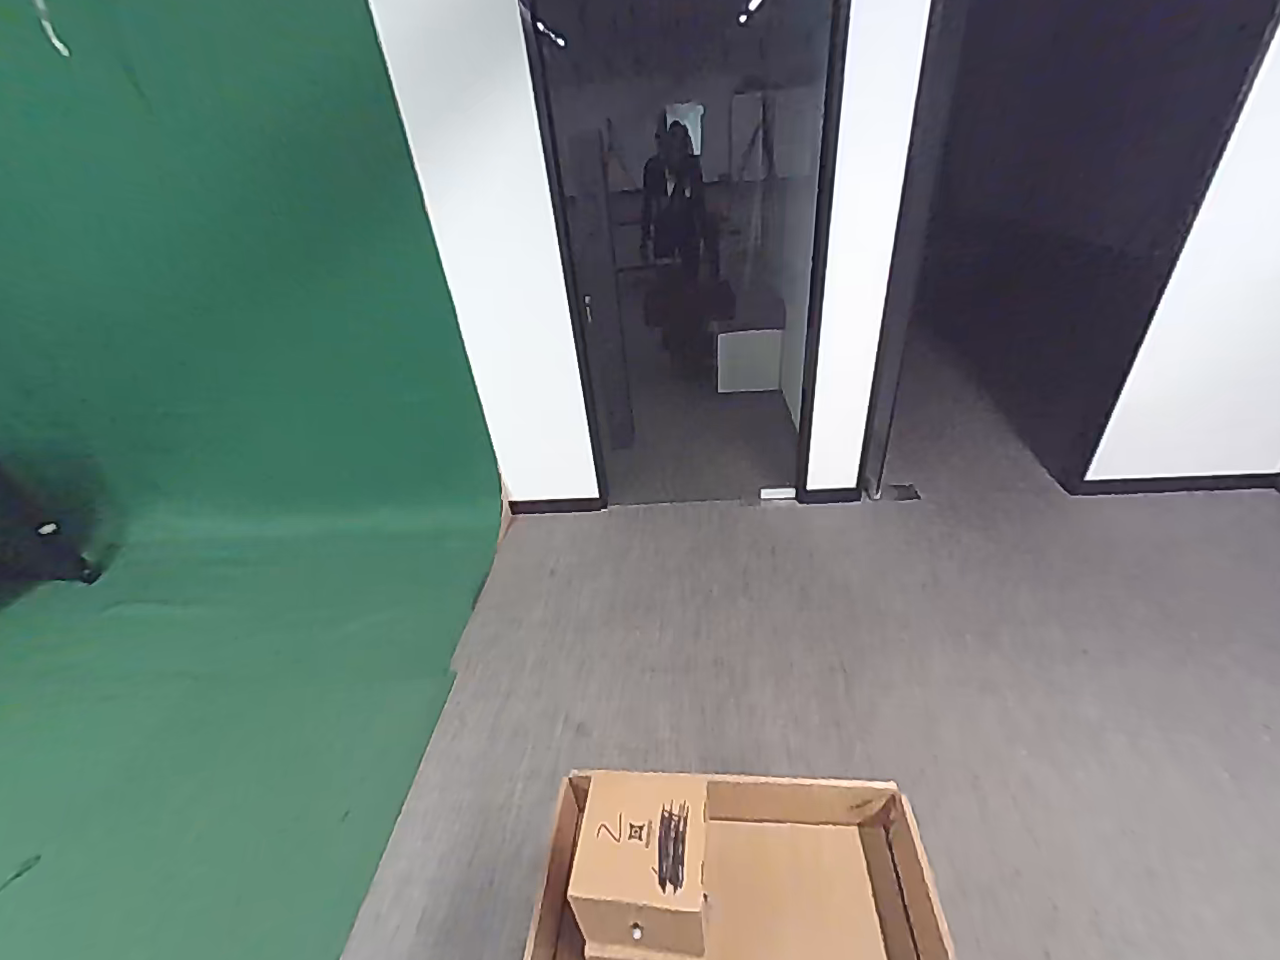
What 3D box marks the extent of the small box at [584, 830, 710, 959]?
[{"bbox_3d":[0.023,0.695,0.863,0.179,0.176,0.168,-1,33,9],"label":"small box"}]
